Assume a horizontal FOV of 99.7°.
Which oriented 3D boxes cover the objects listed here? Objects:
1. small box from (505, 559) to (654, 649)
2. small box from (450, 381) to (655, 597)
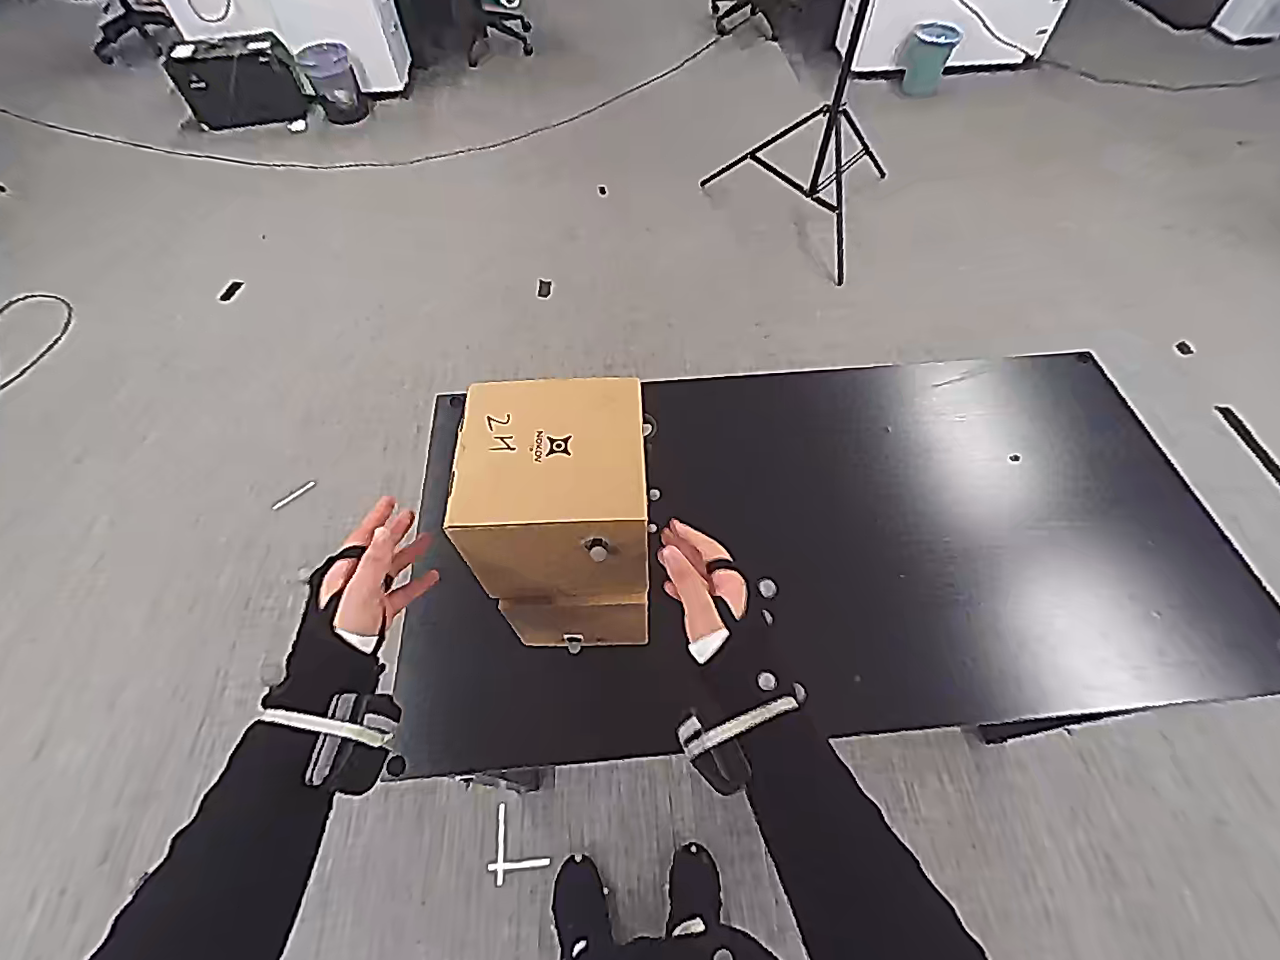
[{"bbox_3d":[-0.068,0.109,0.703,0.168,0.176,0.179,-3,59,0],"label":"small box"},{"bbox_3d":[-0.076,0.016,0.567,0.179,0.176,0.168,-3,57,0],"label":"small box"}]
